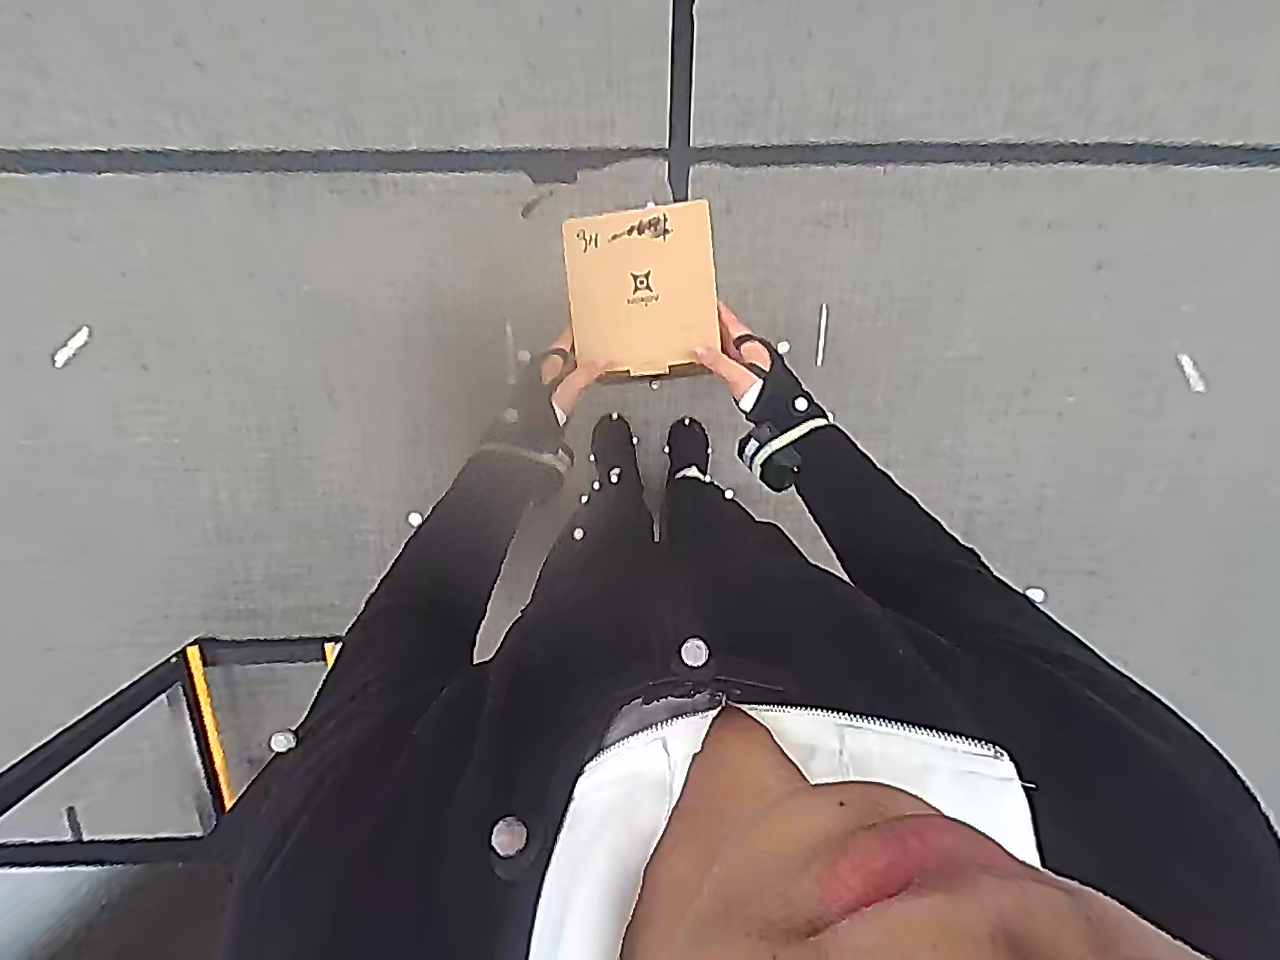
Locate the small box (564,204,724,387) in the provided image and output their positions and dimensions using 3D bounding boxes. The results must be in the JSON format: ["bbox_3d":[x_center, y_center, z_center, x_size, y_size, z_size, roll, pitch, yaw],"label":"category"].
[{"bbox_3d":[0.015,-0.209,0.667,0.168,0.176,0.179,-5,96,7],"label":"small box"}]
